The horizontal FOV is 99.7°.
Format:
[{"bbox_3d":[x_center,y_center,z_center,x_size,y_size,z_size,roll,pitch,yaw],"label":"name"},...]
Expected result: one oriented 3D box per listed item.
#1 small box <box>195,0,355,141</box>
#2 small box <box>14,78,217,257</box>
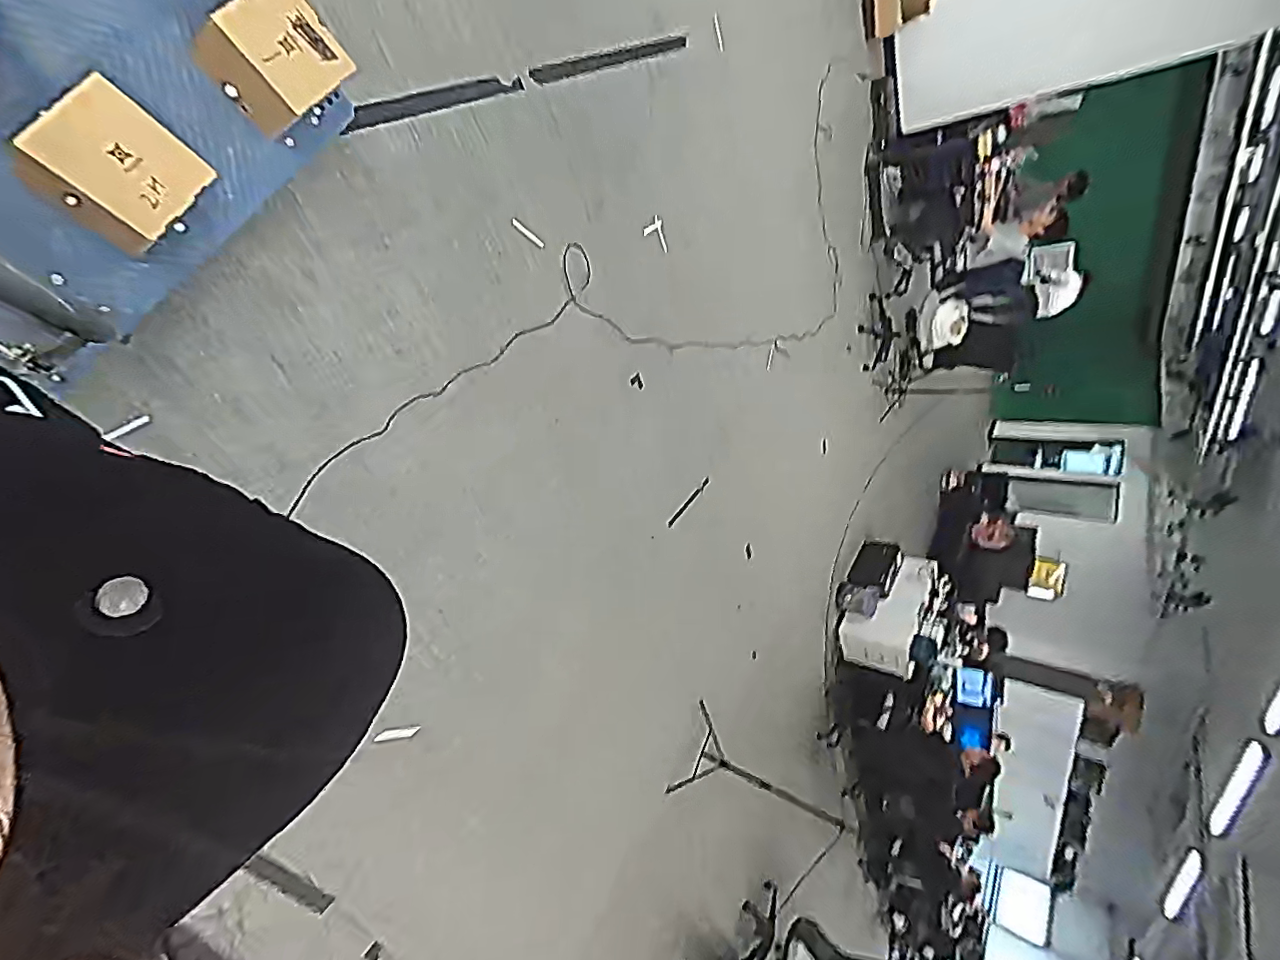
[{"bbox_3d":[-0.700,-0.794,1.035,0.168,0.176,0.179,50,60,-42],"label":"small box"},{"bbox_3d":[-0.859,-0.497,0.889,0.179,0.176,0.168,44,63,-44],"label":"small box"}]
